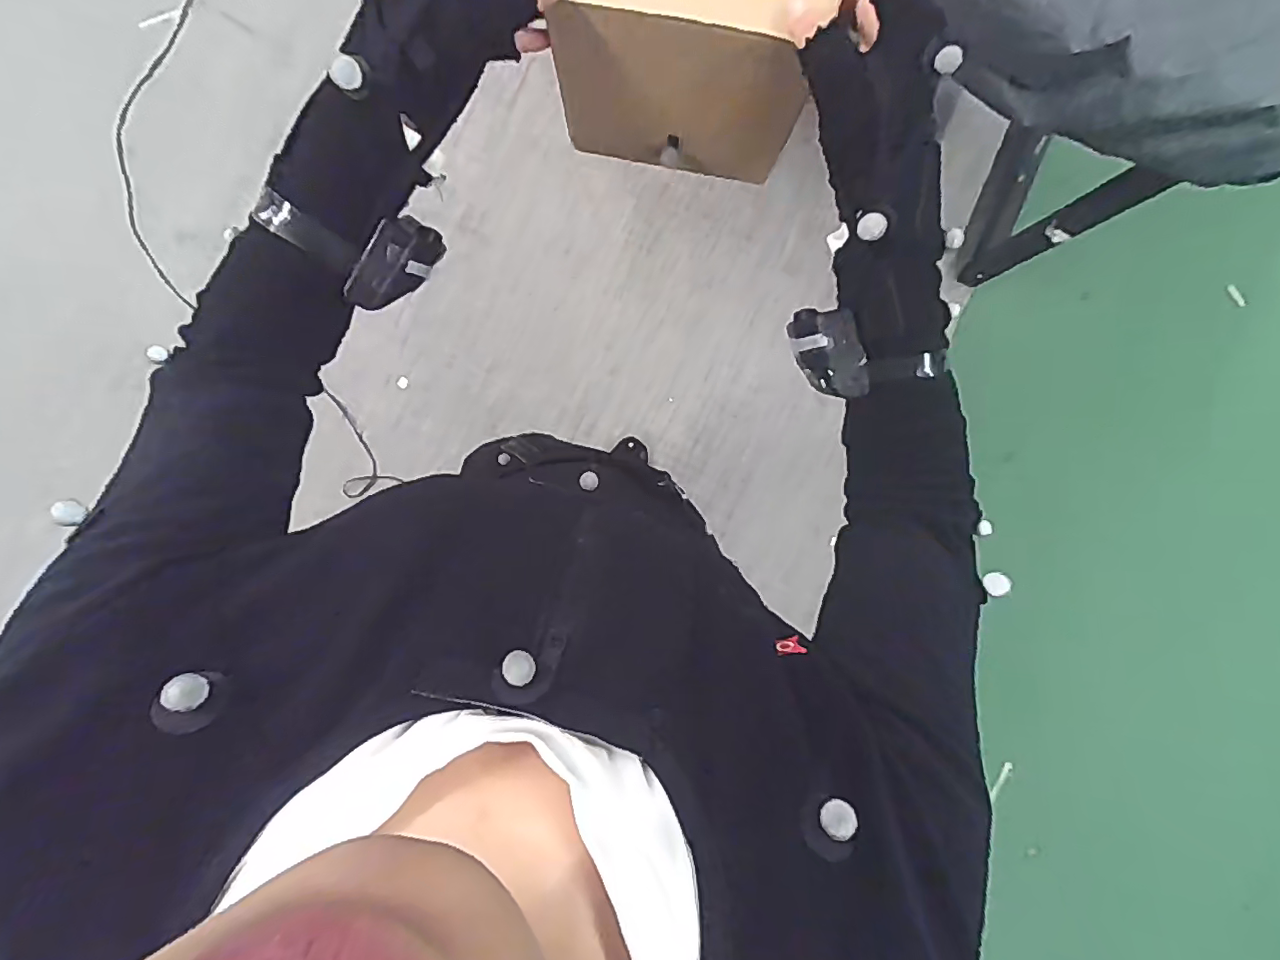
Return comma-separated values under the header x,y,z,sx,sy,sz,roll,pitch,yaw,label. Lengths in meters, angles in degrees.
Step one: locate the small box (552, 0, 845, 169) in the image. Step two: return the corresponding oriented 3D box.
x,y,z,sx,sy,sz,roll,pitch,yaw,label
0.043,-0.358,0.390,0.179,0.176,0.168,10,92,-2,small box
